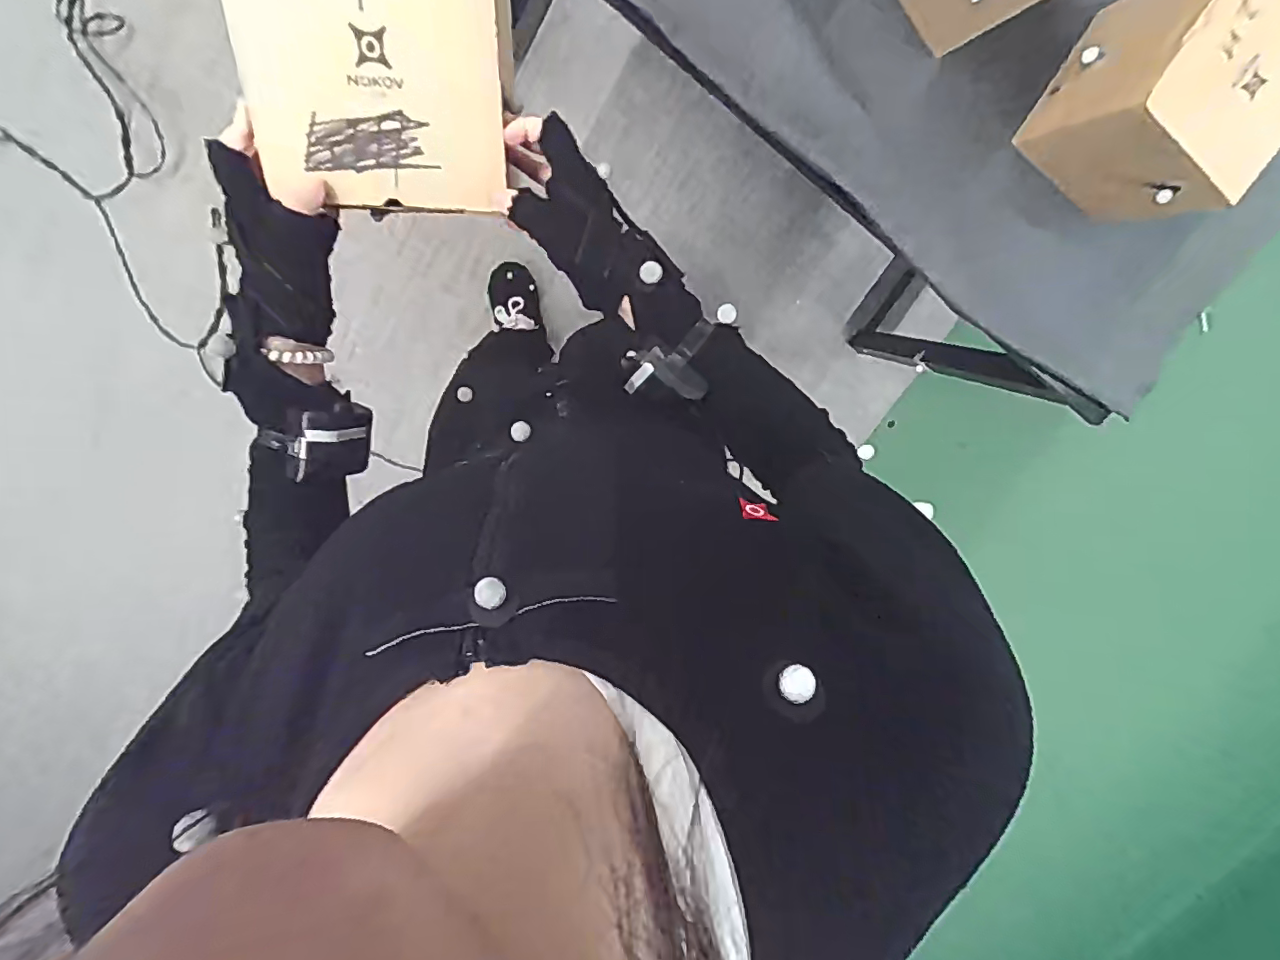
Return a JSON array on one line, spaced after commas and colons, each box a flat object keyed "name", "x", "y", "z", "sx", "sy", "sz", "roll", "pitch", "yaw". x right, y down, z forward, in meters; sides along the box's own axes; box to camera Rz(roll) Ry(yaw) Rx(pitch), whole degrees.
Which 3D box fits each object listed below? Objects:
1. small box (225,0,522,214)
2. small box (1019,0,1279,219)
[{"name": "small box", "x": -0.183, "y": -0.311, "z": 0.421, "sx": 0.168, "sy": 0.176, "sz": 0.179, "roll": -1, "pitch": 117, "yaw": -8}, {"name": "small box", "x": 0.595, "y": -0.420, "z": 0.613, "sx": 0.179, "sy": 0.176, "sz": 0.168, "roll": 27, "pitch": 103, "yaw": -17}]
